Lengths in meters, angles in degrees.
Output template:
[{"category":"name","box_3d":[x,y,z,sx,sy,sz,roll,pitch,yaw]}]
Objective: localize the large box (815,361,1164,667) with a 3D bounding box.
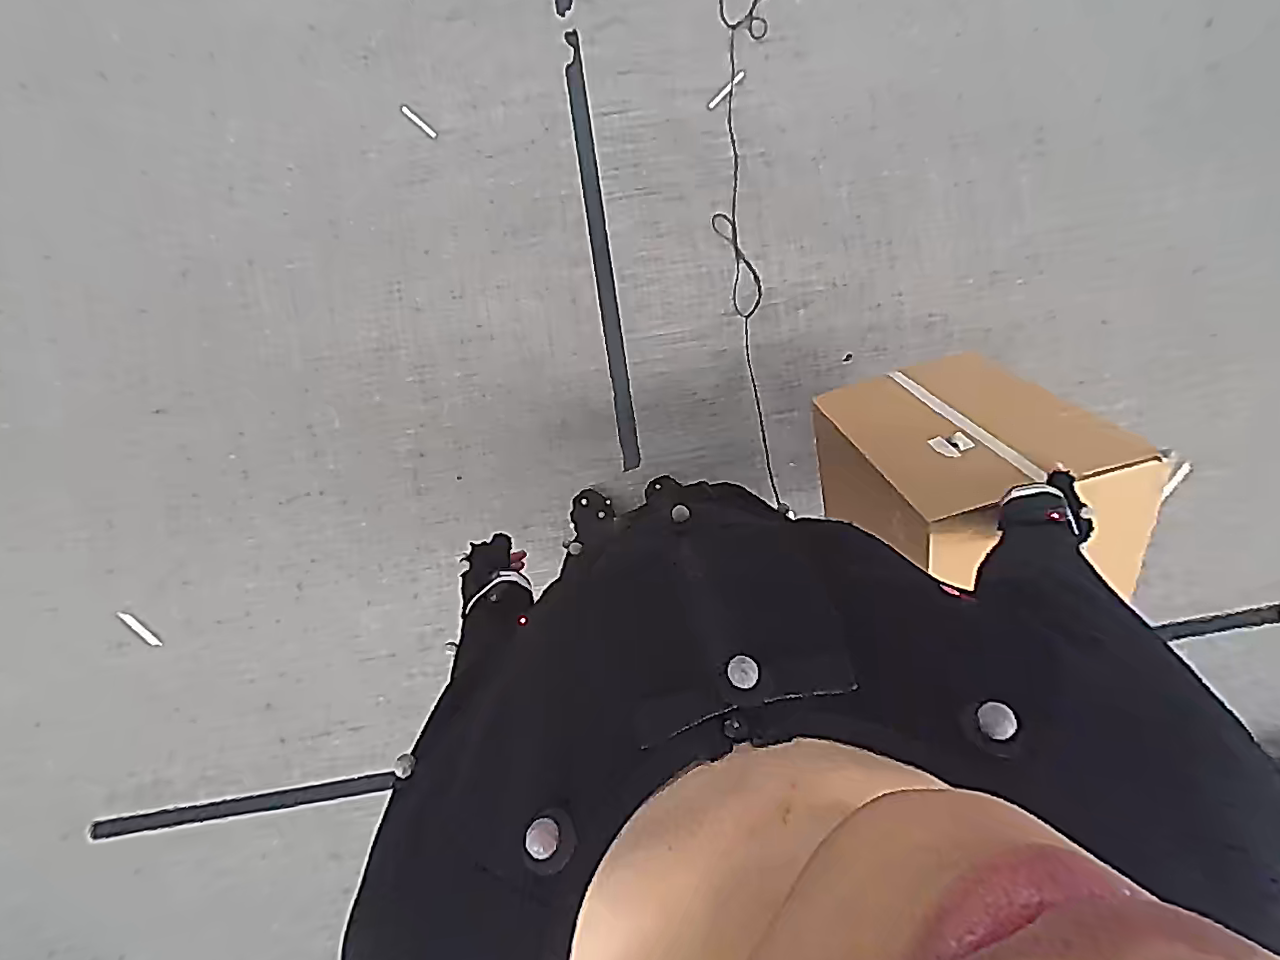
[{"category":"large box","box_3d":[0.539,0.039,0.944,0.320,0.408,0.320,-16,123,2]}]
